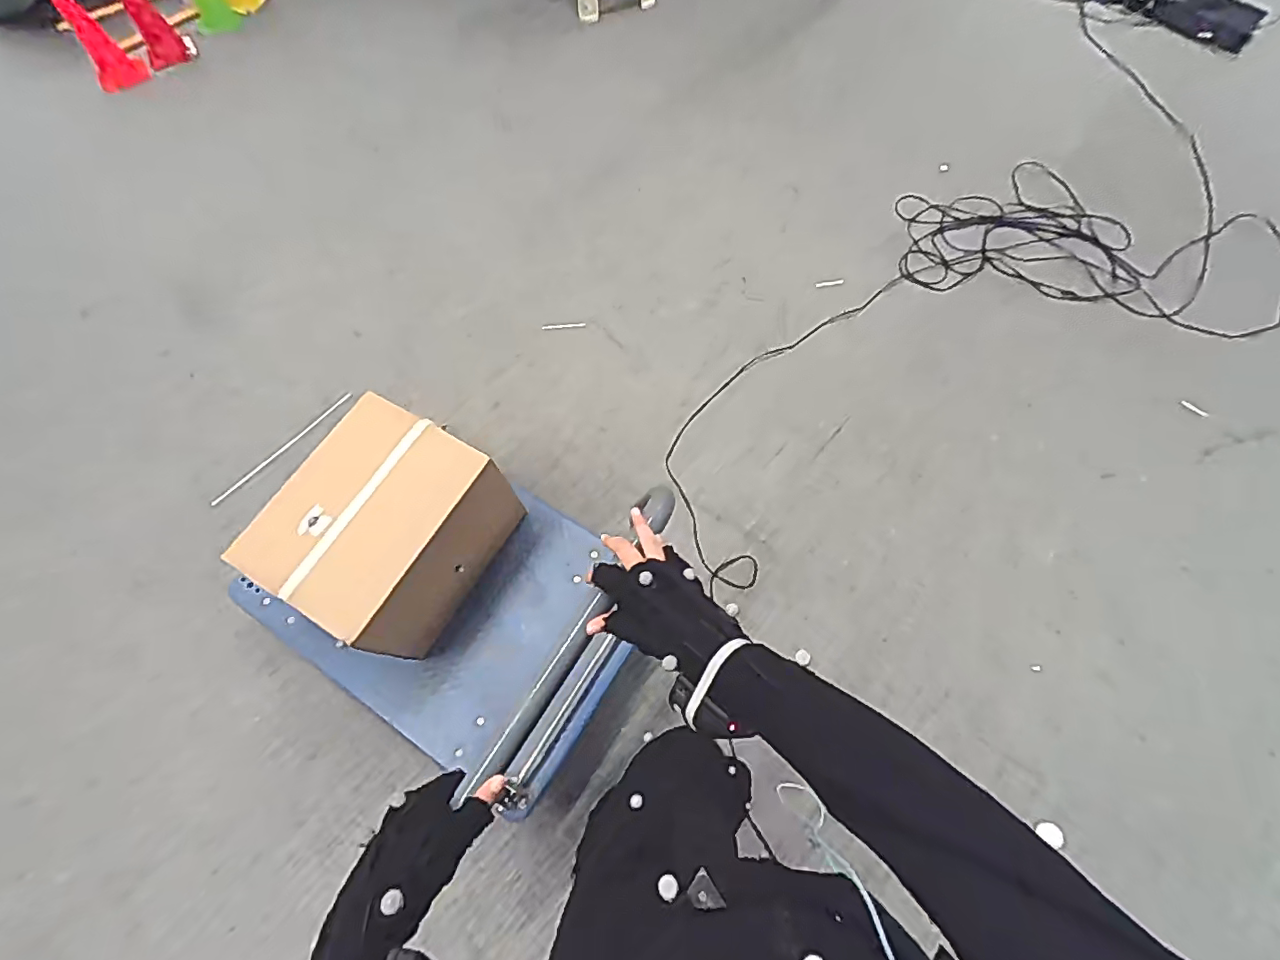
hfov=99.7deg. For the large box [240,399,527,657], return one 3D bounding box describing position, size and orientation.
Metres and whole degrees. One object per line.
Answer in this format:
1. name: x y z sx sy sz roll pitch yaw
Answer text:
1. large box: -0.499 0.114 1.152 0.320 0.320 0.408 27 72 14
